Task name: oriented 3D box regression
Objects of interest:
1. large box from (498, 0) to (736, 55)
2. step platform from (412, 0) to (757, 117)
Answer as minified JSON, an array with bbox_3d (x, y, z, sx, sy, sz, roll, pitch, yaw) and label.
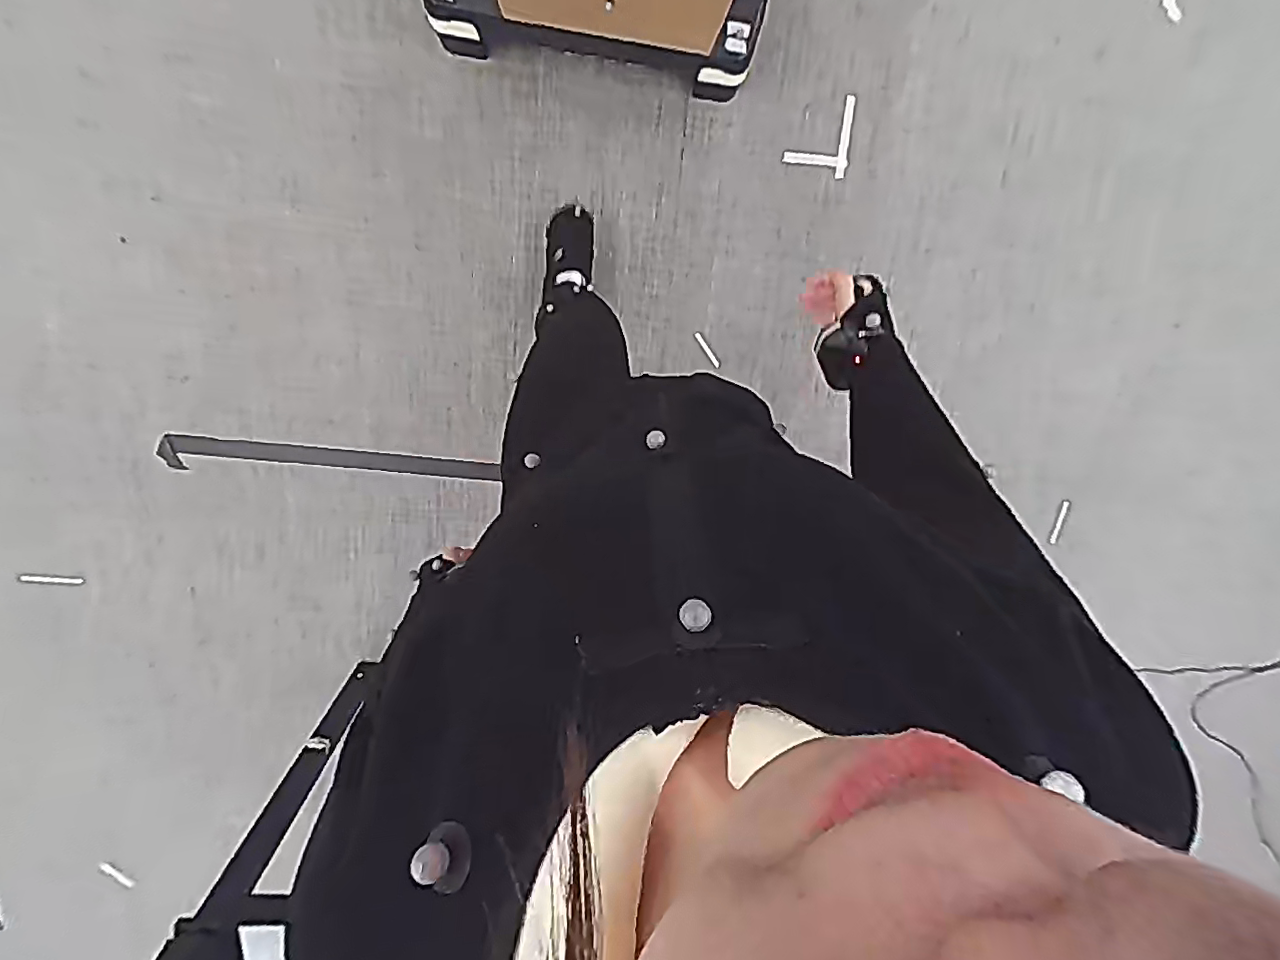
[{"bbox_3d":[-0.032,-0.937,0.855,0.408,0.320,0.320,5,106,-5],"label":"large box"},{"bbox_3d":[-0.105,-0.995,1.082,0.684,0.204,0.286,11,106,-7],"label":"step platform"}]
